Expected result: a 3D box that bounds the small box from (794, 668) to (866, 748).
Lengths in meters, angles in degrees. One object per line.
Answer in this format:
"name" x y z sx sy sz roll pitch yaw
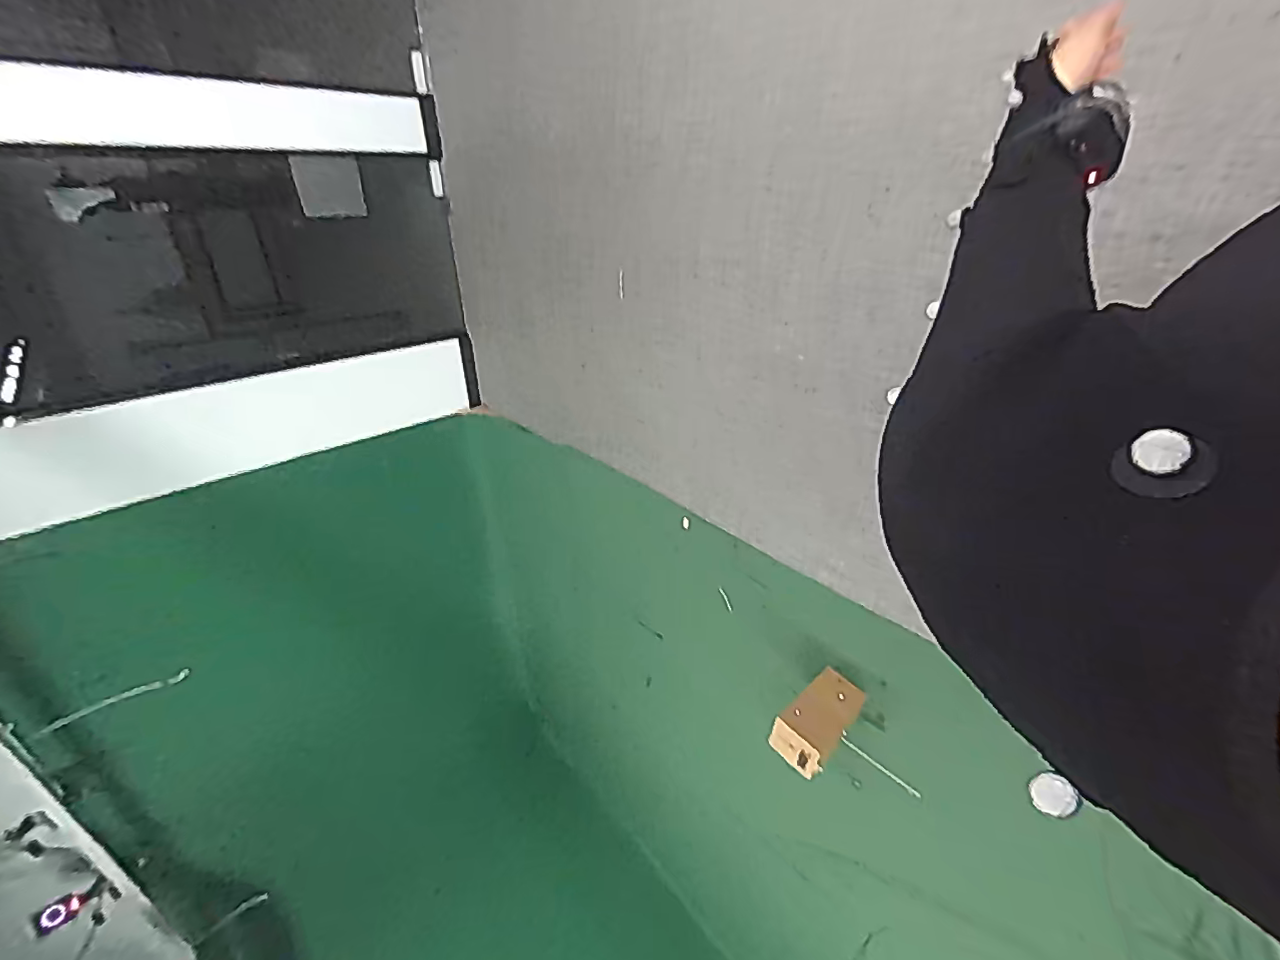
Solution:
"small box" 0.701 0.830 1.986 0.168 0.176 0.179 35 134 34
